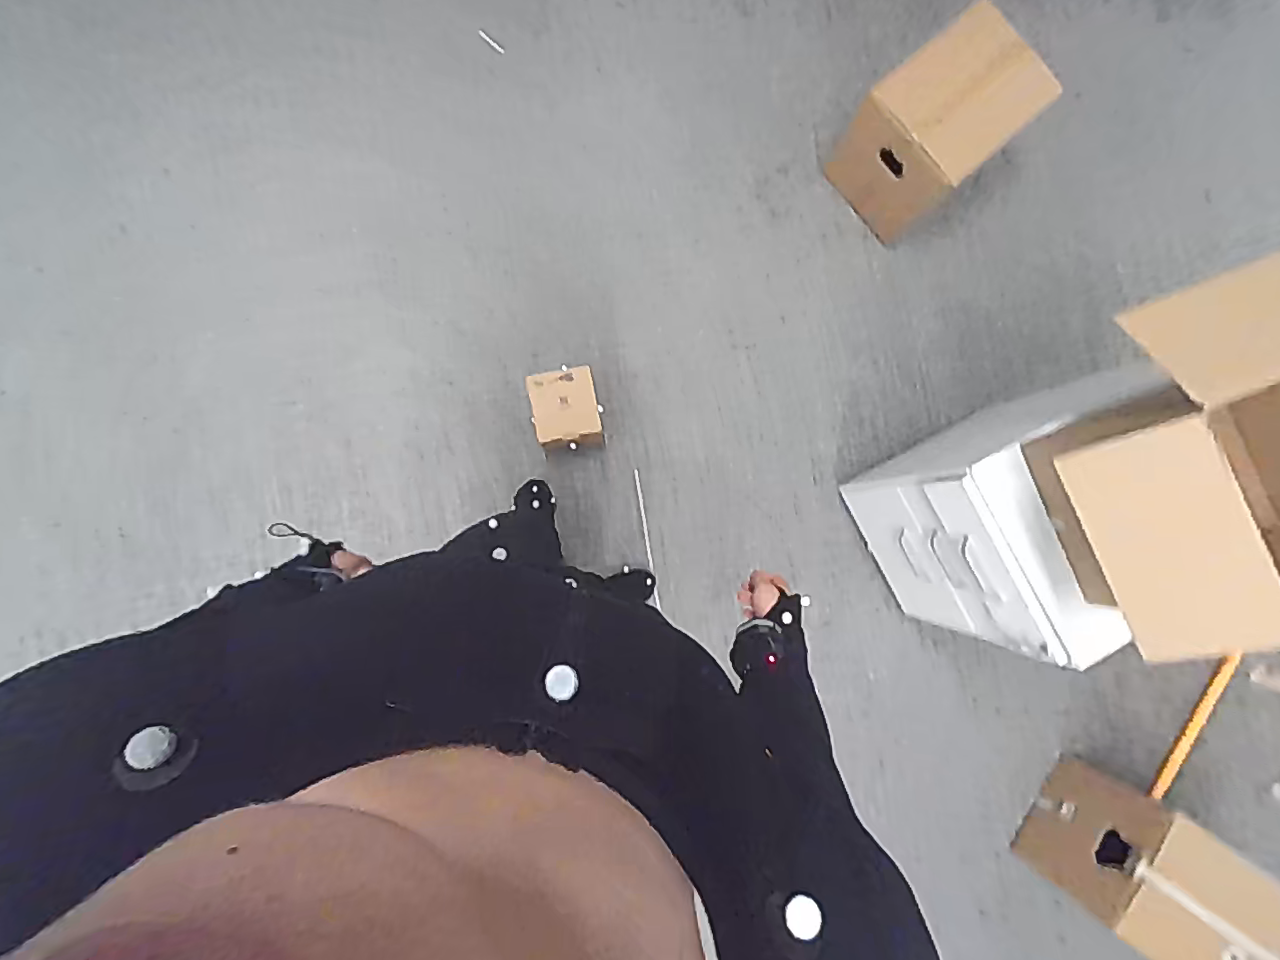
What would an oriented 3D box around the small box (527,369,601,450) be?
[{"bbox_3d":[-0.197,-0.181,1.446,0.168,0.176,0.179,-11,87,-5],"label":"small box"}]
